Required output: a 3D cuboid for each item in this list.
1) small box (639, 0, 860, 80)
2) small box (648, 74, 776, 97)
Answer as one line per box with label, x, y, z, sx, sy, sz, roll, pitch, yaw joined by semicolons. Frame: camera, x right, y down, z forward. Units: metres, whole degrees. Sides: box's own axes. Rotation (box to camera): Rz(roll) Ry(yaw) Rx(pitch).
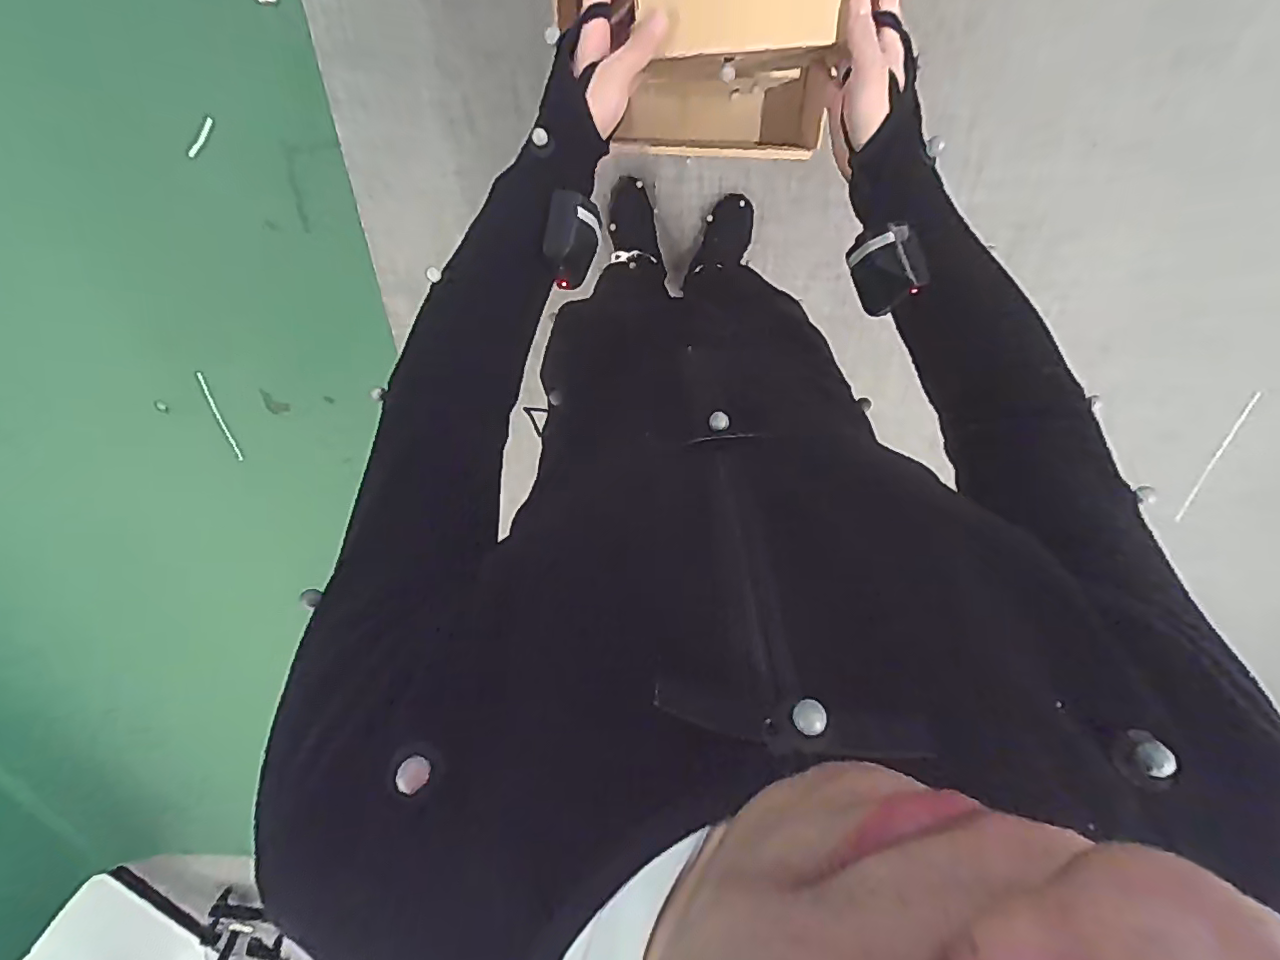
small box;0.086;-0.460;0.471;0.179;0.176;0.168;-2;122;2
small box;0.101;-0.655;0.773;0.179;0.176;0.168;1;123;1
